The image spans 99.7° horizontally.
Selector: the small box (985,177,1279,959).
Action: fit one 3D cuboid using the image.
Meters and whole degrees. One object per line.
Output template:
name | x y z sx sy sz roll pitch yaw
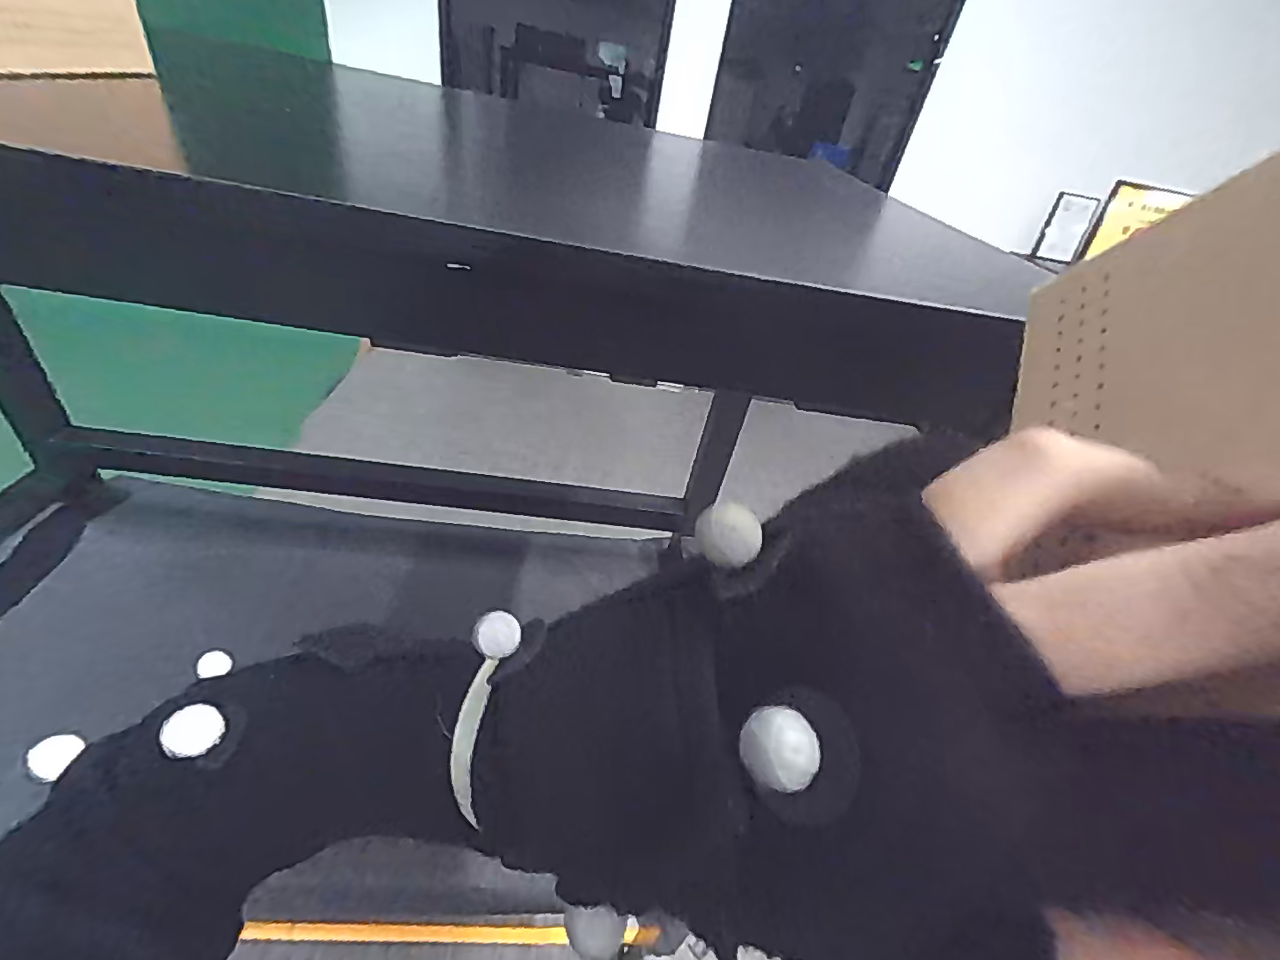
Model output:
small box | 0.203 0.029 0.100 0.168 0.176 0.179 23 71 -11
